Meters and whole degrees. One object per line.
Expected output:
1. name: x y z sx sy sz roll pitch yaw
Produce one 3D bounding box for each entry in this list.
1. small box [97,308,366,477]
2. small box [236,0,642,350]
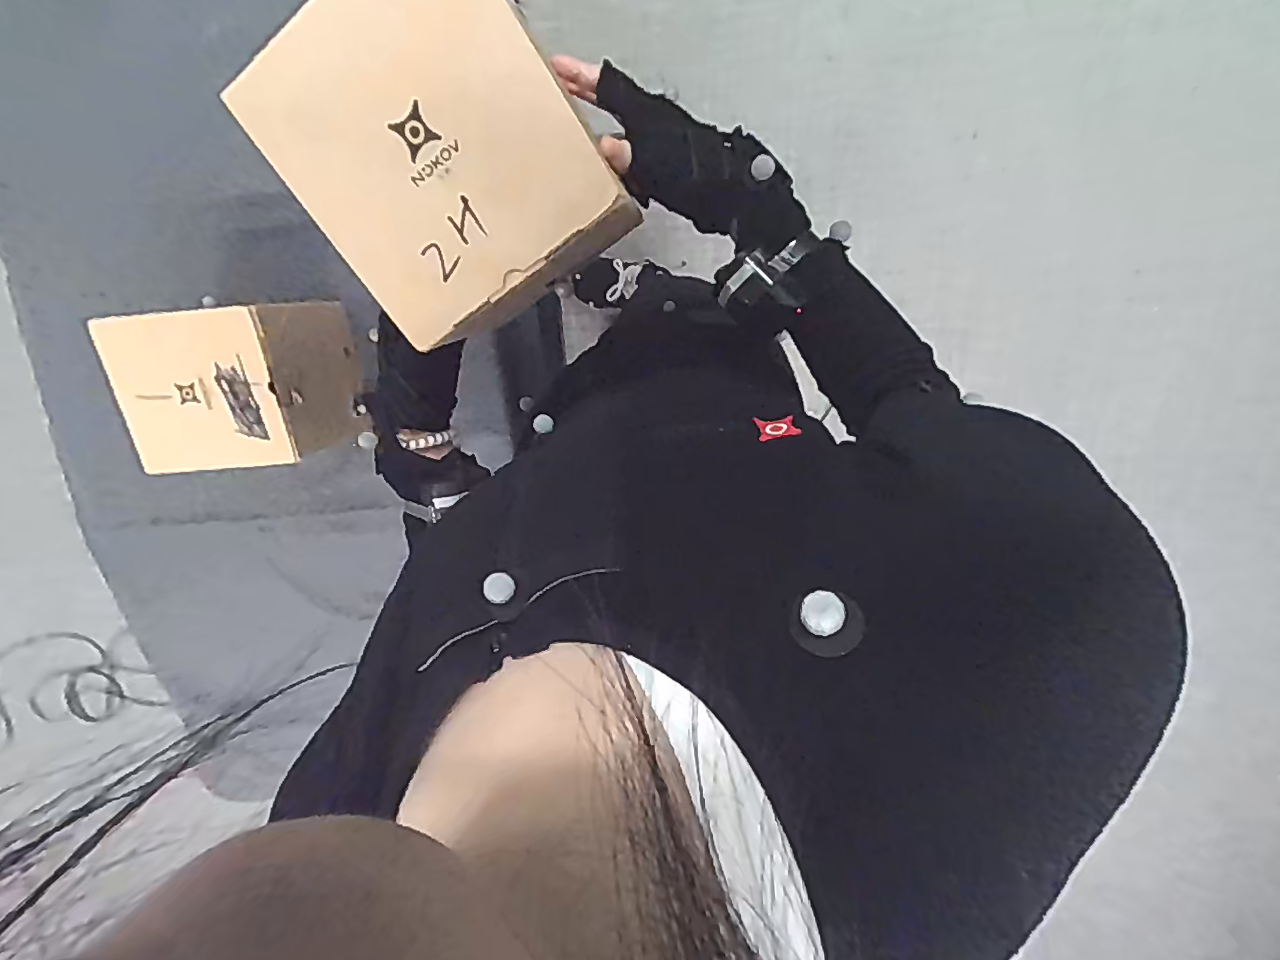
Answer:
1. small box: -0.455 -0.112 0.643 0.179 0.176 0.168 -4 108 4
2. small box: -0.113 -0.218 0.385 0.168 0.176 0.179 -29 107 16
